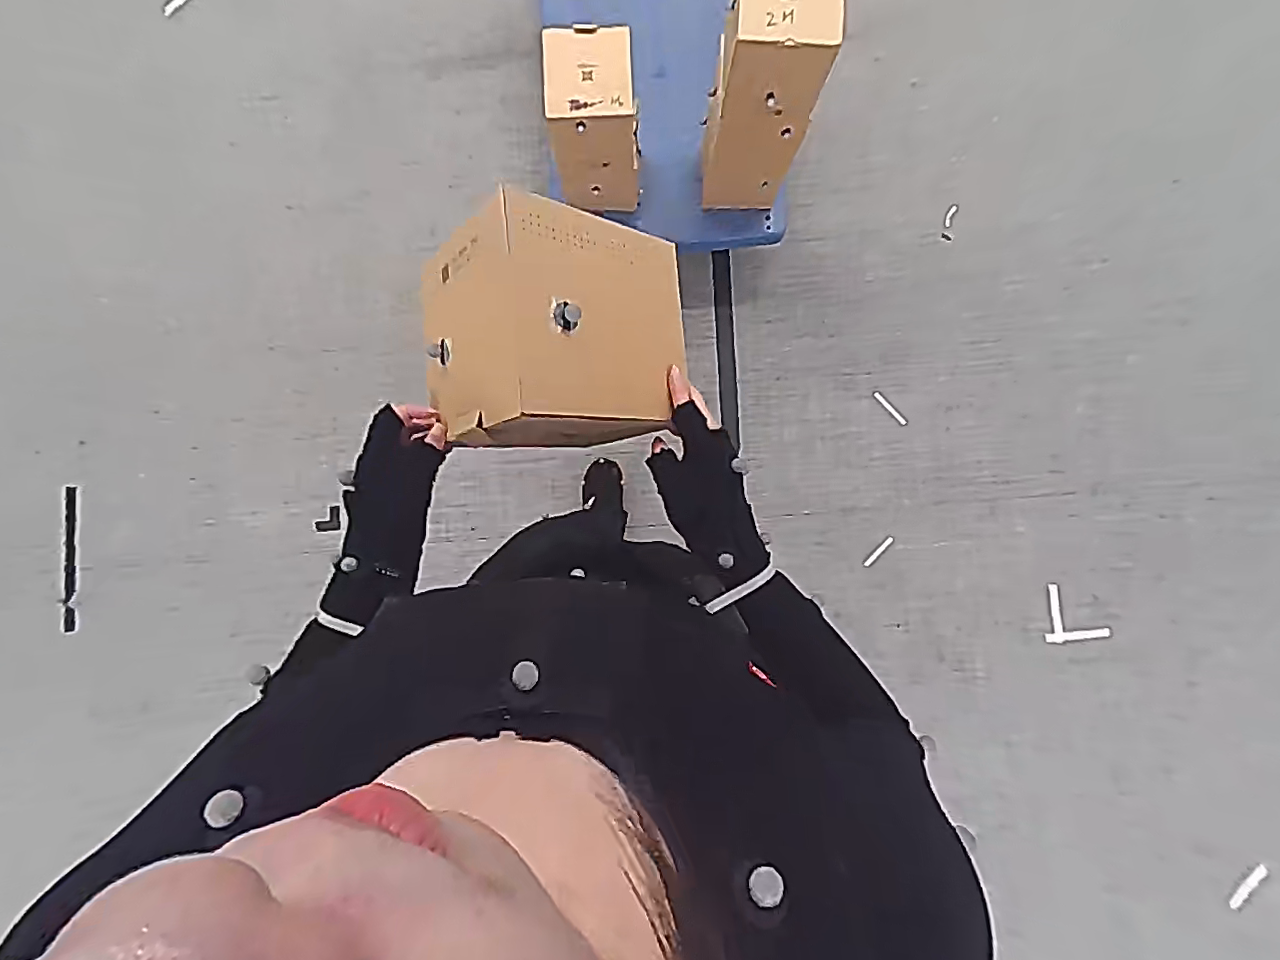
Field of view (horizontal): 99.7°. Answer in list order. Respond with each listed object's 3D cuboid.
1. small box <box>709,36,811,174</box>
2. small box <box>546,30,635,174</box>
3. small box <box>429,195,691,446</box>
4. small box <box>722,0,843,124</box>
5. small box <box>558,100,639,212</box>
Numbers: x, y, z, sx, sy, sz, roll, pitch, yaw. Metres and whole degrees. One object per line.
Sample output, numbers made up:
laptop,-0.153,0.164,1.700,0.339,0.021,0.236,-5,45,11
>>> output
small box,0.236,-0.747,1.092,0.179,0.176,0.168,2,88,-1
small box,-0.096,-0.754,1.091,0.168,0.176,0.179,-2,87,0
small box,-0.077,-0.127,0.492,0.179,0.168,0.176,-4,88,-42
small box,0.236,-0.757,0.927,0.168,0.176,0.179,3,88,0
small box,-0.090,-0.746,1.255,0.179,0.176,0.168,1,88,1
